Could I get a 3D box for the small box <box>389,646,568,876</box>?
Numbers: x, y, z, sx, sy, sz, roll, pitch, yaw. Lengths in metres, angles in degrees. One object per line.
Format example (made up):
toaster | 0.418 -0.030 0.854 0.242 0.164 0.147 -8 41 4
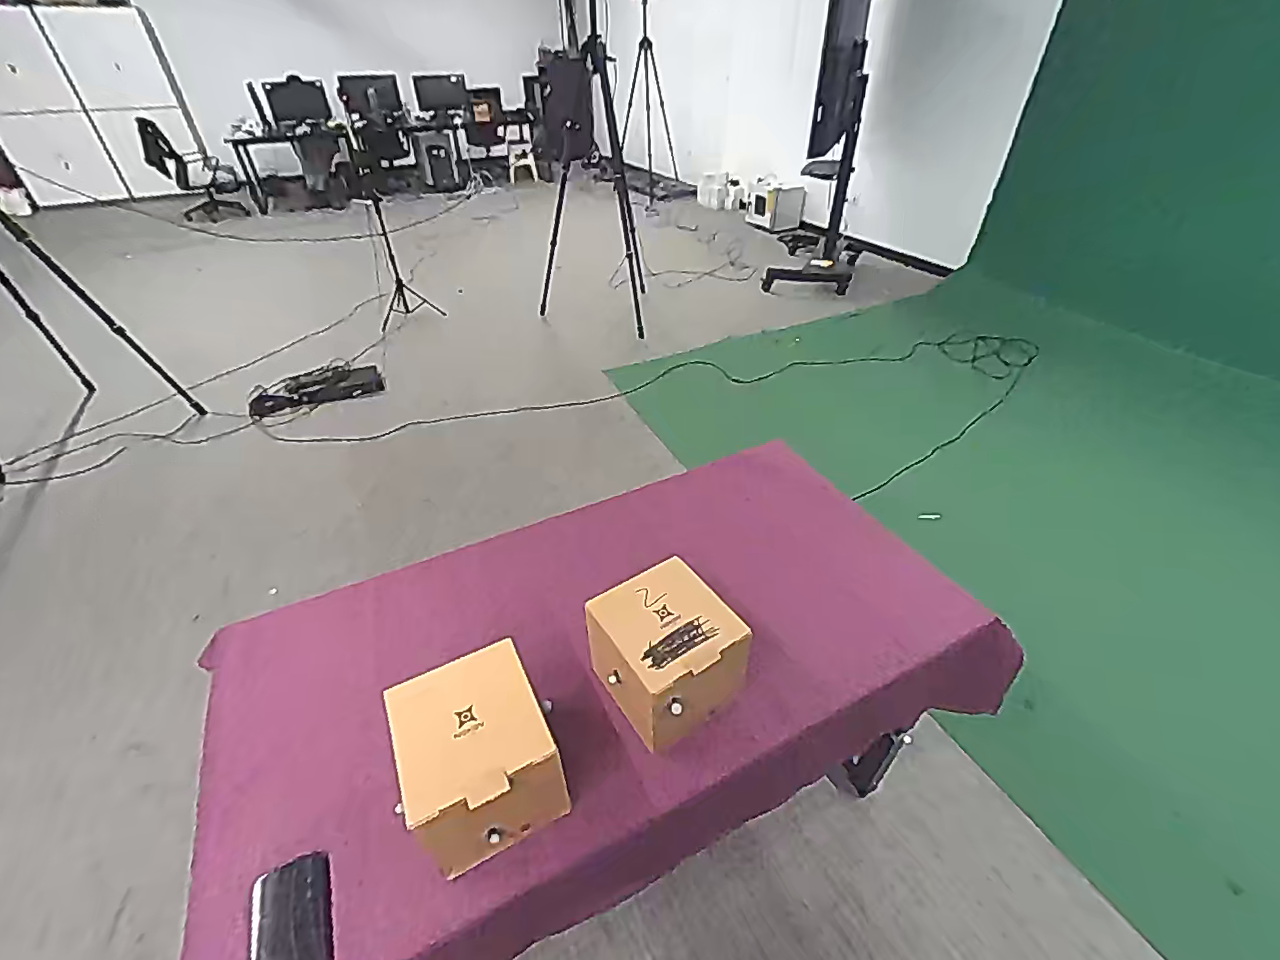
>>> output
small box | -0.204 0.357 0.696 0.168 0.176 0.179 -19 43 -21
